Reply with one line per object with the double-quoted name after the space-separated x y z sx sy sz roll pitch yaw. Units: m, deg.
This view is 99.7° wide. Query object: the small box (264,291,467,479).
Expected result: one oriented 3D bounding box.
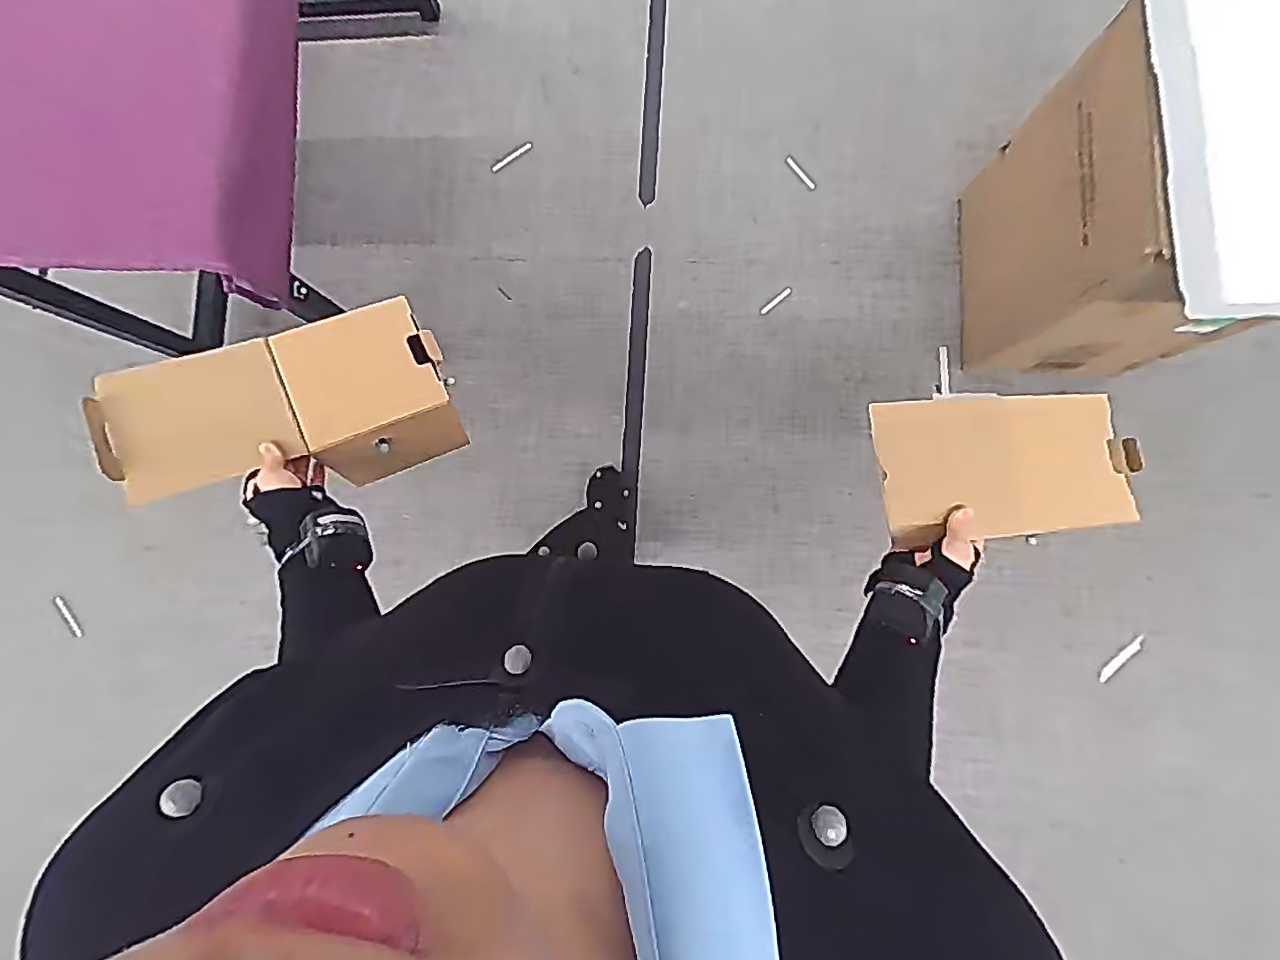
-0.358 -0.119 0.739 0.179 0.176 0.168 -24 80 -14 "small box"
